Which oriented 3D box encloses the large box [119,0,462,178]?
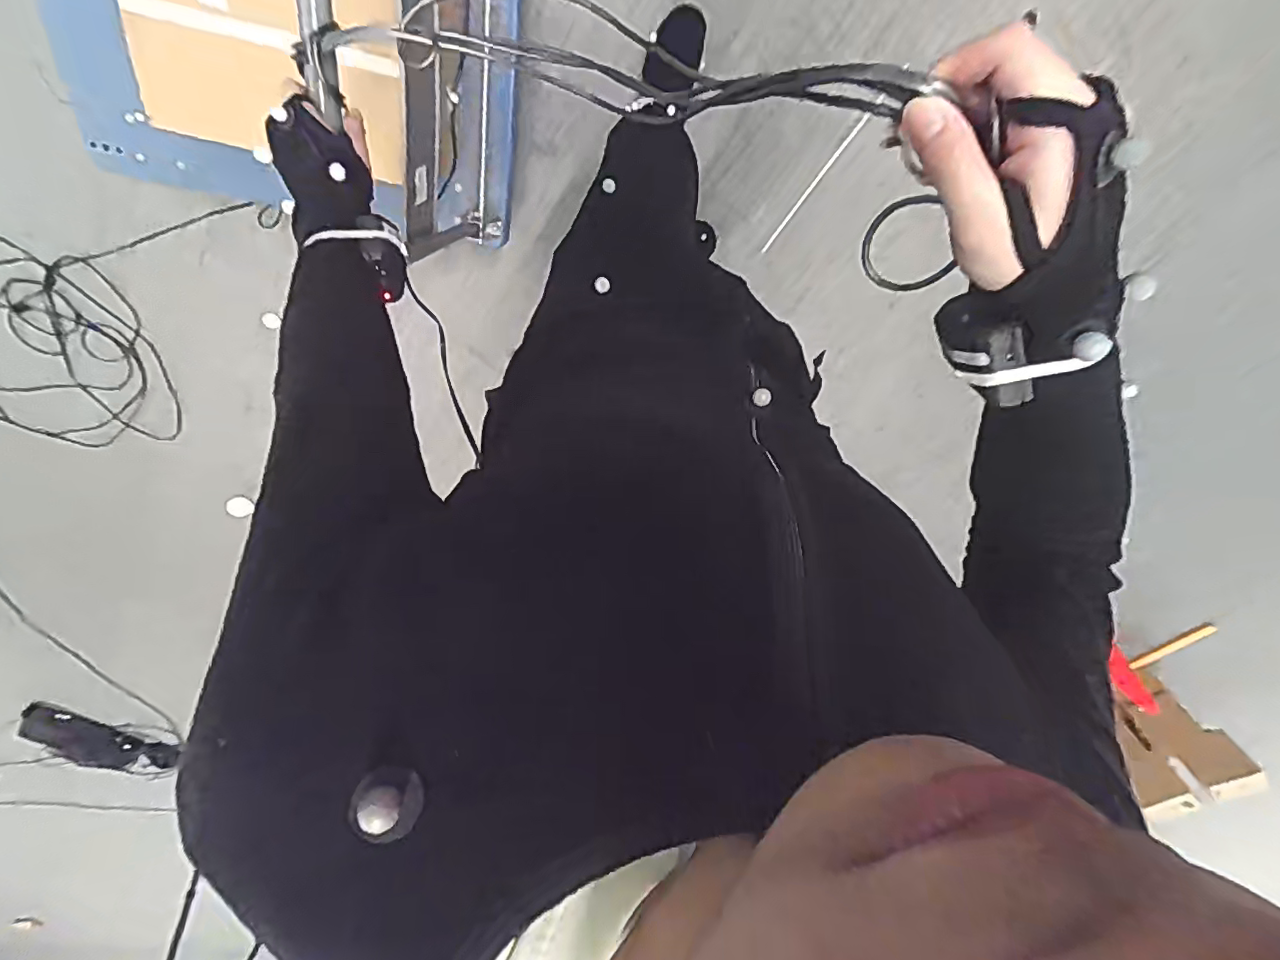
[{"bbox_3d":[-0.539,-0.732,0.906,0.408,0.320,0.320,10,123,-6],"label":"large box"}]
